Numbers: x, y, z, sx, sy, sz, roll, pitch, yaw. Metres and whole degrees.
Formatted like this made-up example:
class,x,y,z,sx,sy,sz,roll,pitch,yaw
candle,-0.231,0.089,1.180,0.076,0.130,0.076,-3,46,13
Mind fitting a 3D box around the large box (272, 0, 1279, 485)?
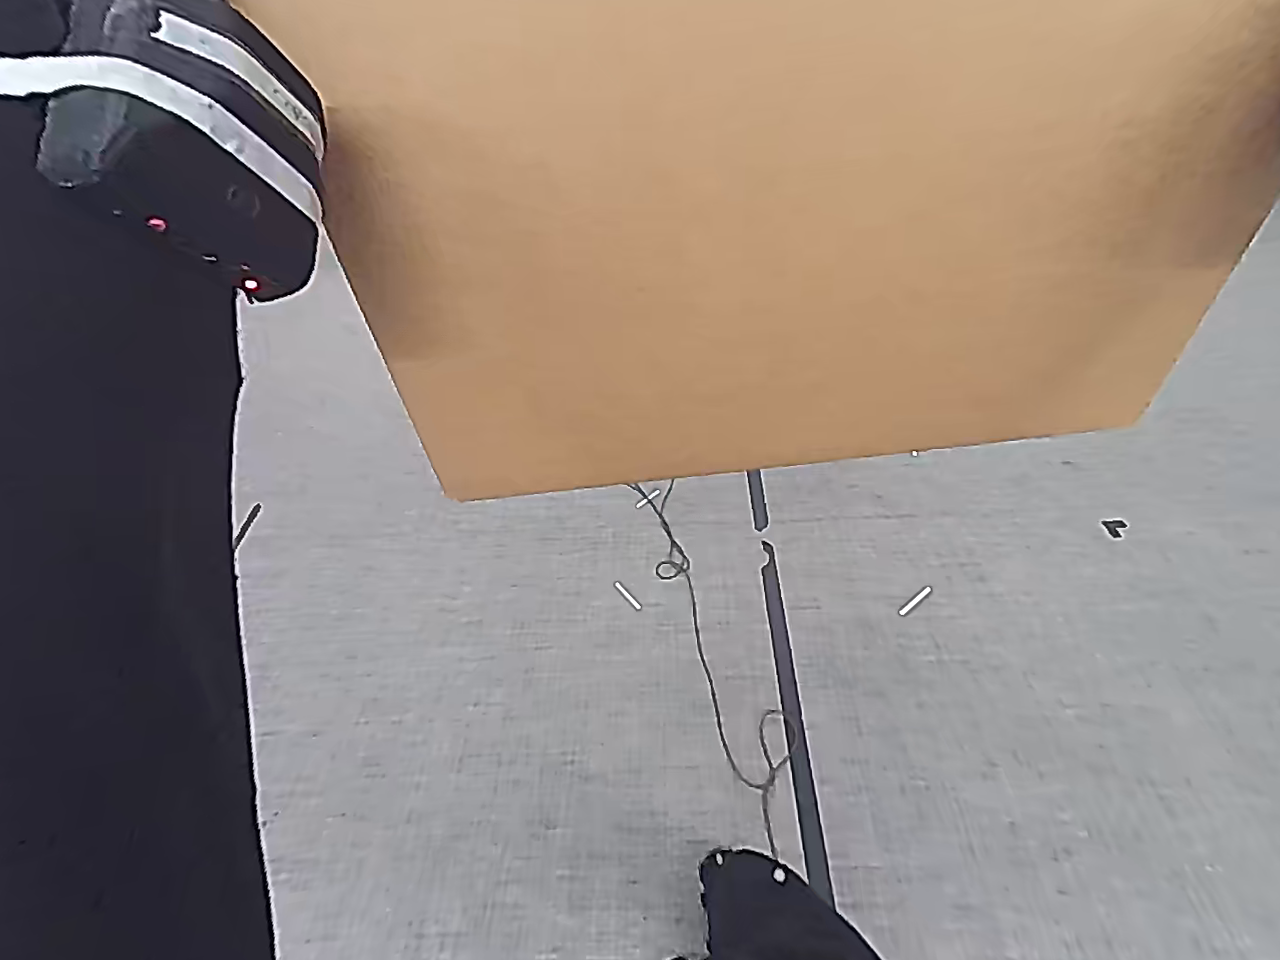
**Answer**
class,x,y,z,sx,sy,sz,roll,pitch,yaw
large box,0.060,-0.225,0.345,0.408,0.320,0.320,-6,41,-1
